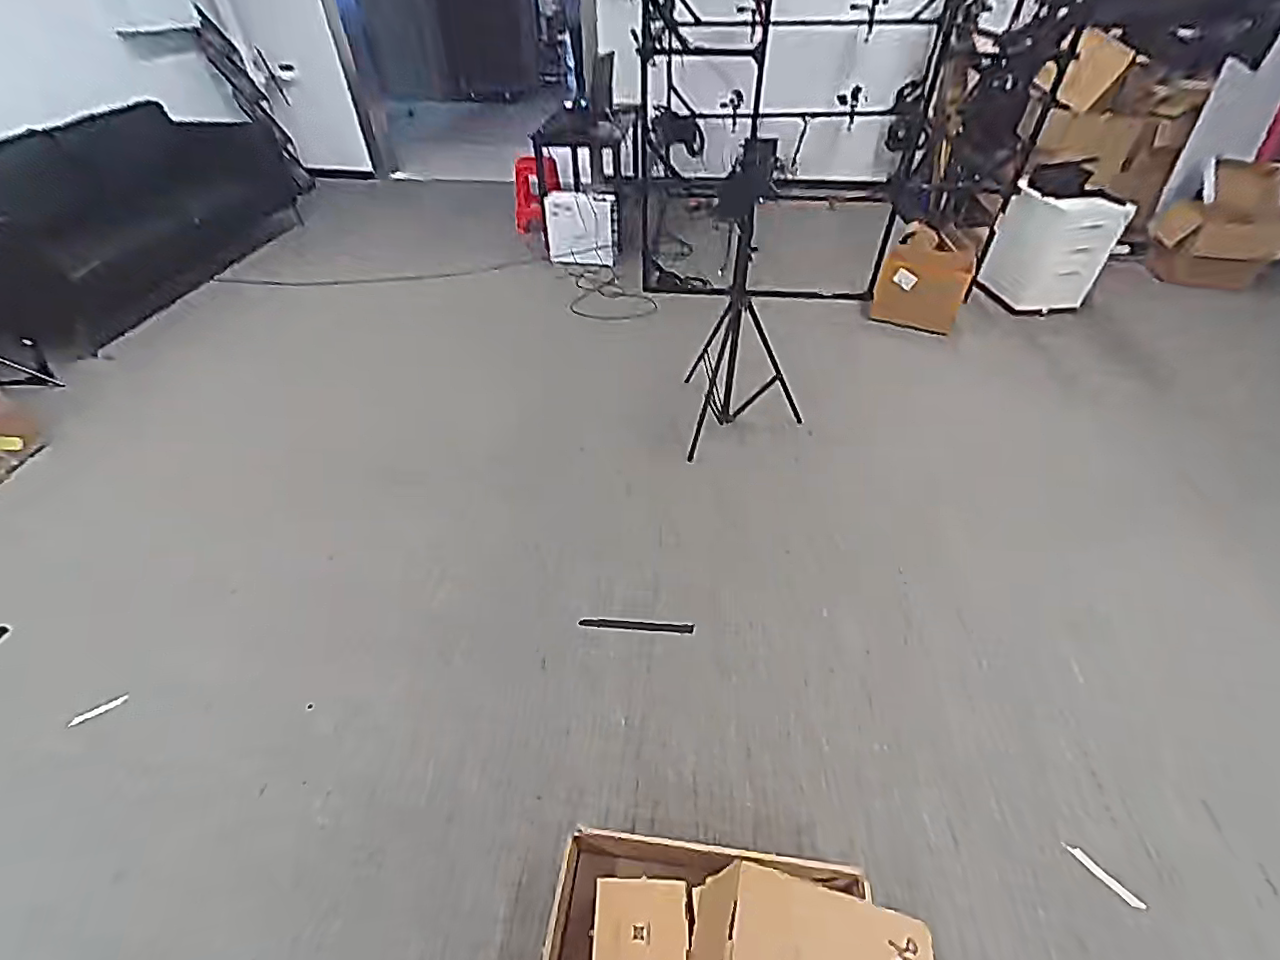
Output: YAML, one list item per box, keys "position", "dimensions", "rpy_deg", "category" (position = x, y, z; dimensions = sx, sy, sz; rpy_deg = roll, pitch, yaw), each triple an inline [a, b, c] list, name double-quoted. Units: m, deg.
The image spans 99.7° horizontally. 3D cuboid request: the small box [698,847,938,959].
- position: [0.143, 0.465, 0.479]
  dimensions: [0.179, 0.176, 0.168]
  rpy_deg: [16, 44, 6]
  category: "small box"
